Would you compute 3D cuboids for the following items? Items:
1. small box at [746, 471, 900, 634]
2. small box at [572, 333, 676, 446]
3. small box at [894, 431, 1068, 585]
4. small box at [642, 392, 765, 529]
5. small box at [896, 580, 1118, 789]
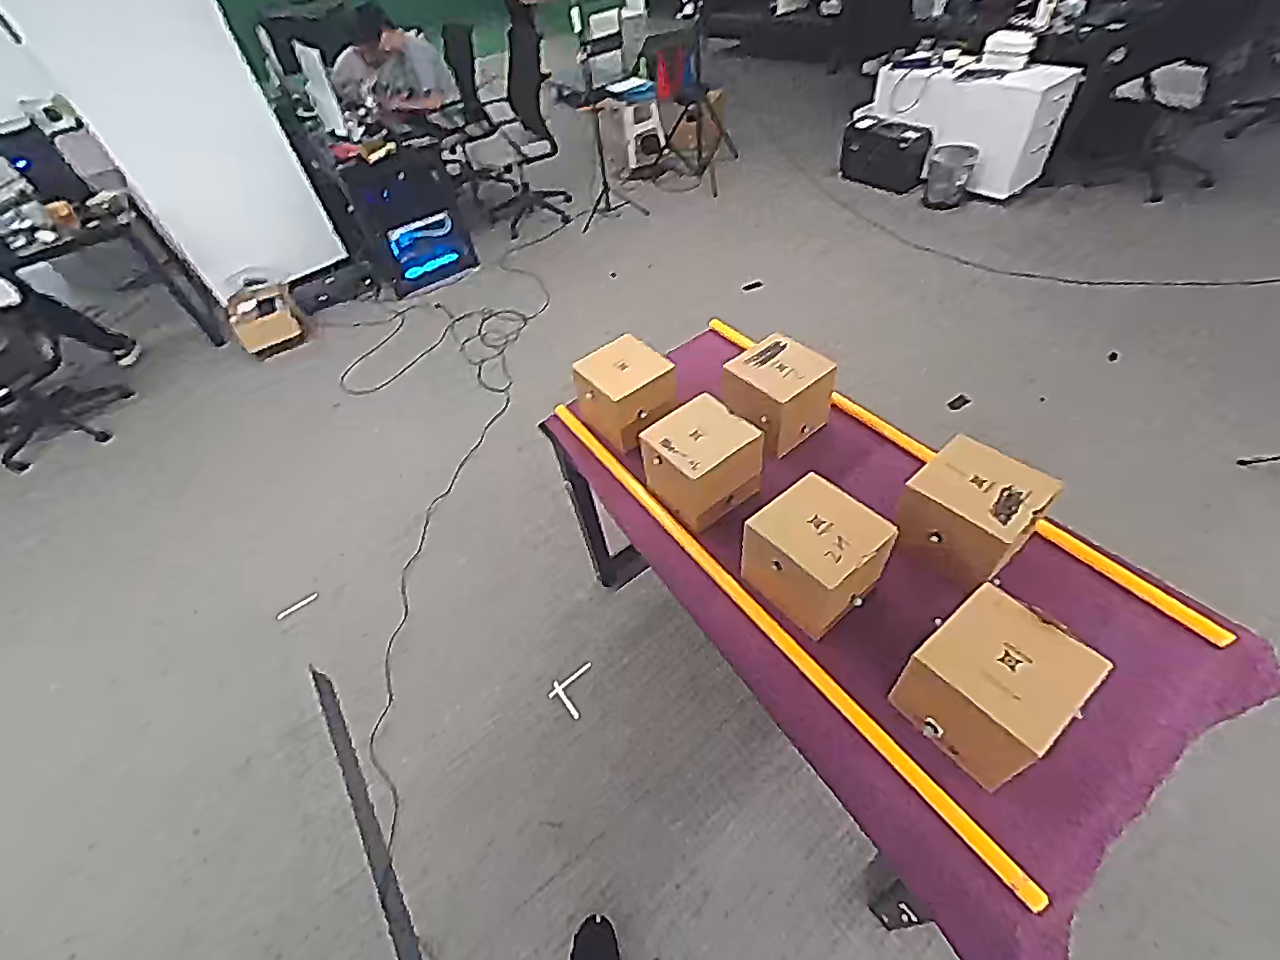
[{"bbox_3d":[0.294,0.123,0.910,0.168,0.176,0.179,-33,52,-20],"label":"small box"},{"bbox_3d":[-0.030,-0.201,1.244,0.168,0.176,0.179,-33,52,-19],"label":"small box"},{"bbox_3d":[0.567,0.055,0.926,0.168,0.176,0.179,-36,52,-19],"label":"small box"},{"bbox_3d":[0.126,-0.038,1.078,0.179,0.176,0.168,-32,51,-19],"label":"small box"},{"bbox_3d":[0.484,0.279,0.742,0.179,0.176,0.168,-32,50,-21],"label":"small box"}]
